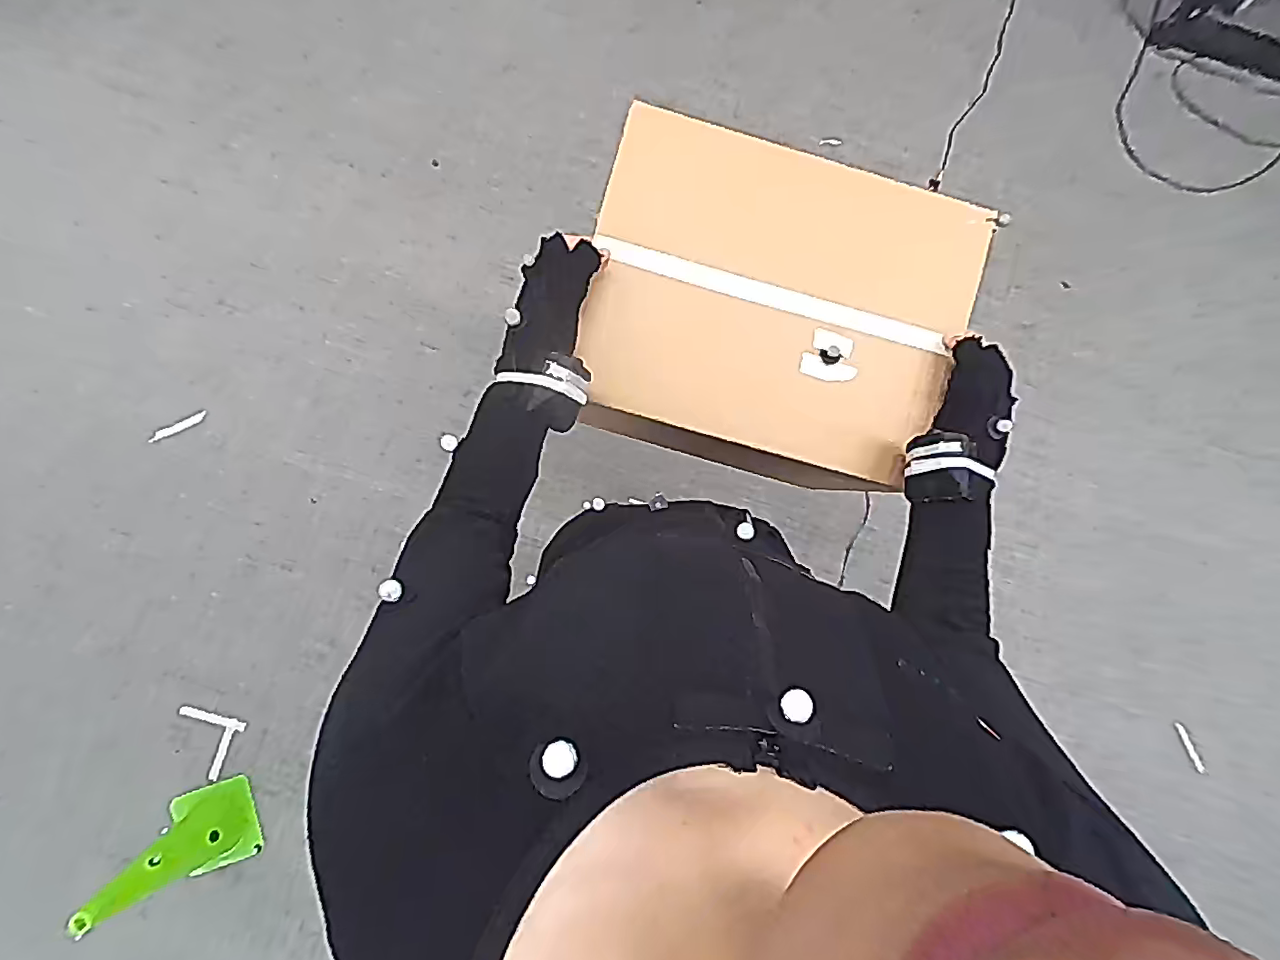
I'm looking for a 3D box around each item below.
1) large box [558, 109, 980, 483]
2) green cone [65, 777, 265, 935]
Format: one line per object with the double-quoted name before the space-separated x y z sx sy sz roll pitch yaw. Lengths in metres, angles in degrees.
"large box" 0.132 -0.193 0.719 0.408 0.320 0.320 15 89 -3
"green cone" -1.073 0.862 1.210 0.202 0.368 0.200 -19 84 -2
